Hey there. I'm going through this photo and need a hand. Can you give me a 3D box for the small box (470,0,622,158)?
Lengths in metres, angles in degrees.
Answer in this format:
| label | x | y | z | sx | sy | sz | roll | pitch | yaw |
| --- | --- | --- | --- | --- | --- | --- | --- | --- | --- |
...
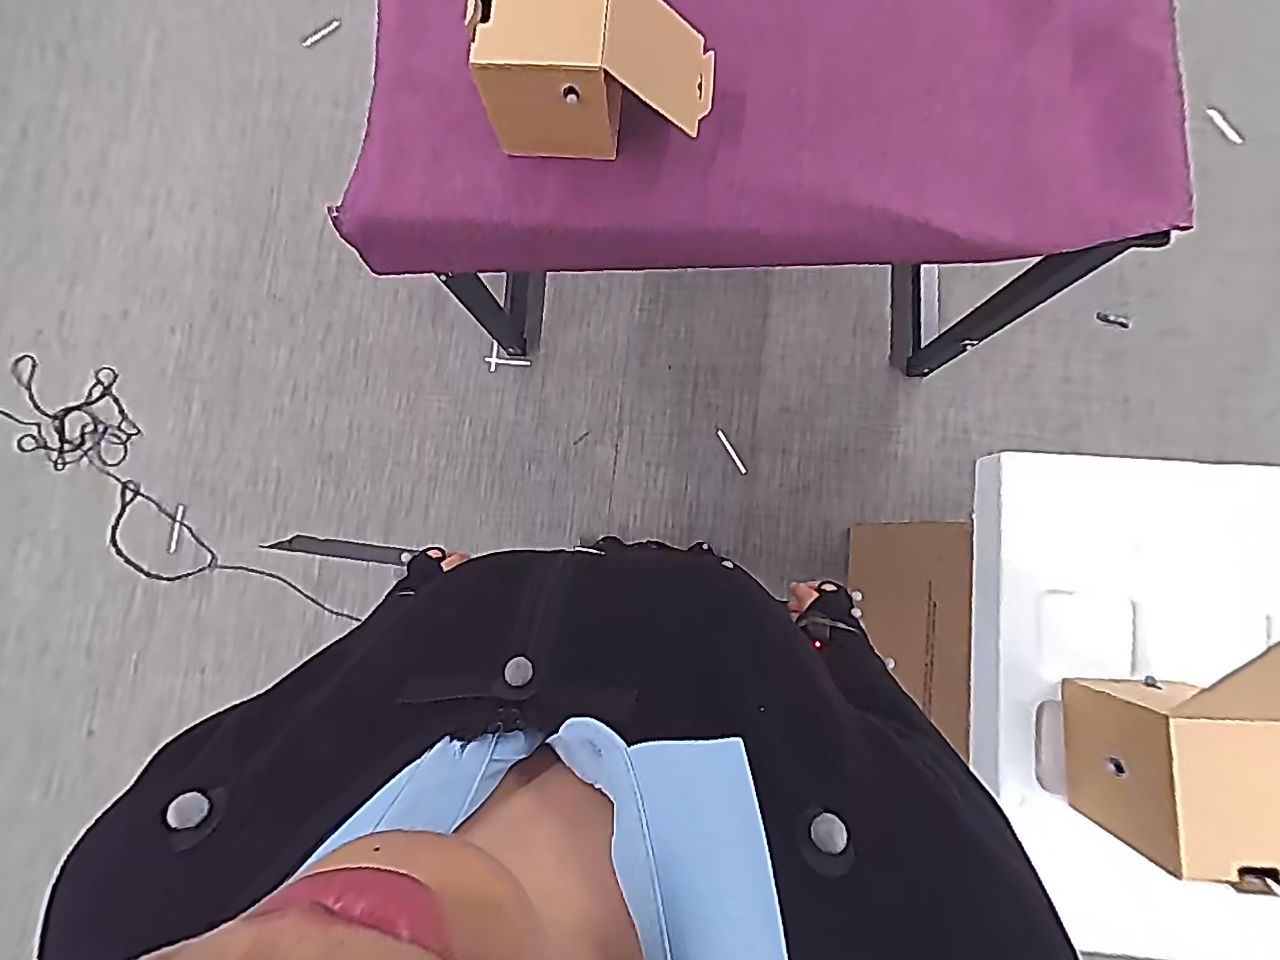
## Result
| label | x | y | z | sx | sy | sz | roll | pitch | yaw |
| --- | --- | --- | --- | --- | --- | --- | --- | --- | --- |
| small box | -0.122 | -0.594 | 0.776 | 0.179 | 0.176 | 0.168 | 5 | 83 | 4 |
